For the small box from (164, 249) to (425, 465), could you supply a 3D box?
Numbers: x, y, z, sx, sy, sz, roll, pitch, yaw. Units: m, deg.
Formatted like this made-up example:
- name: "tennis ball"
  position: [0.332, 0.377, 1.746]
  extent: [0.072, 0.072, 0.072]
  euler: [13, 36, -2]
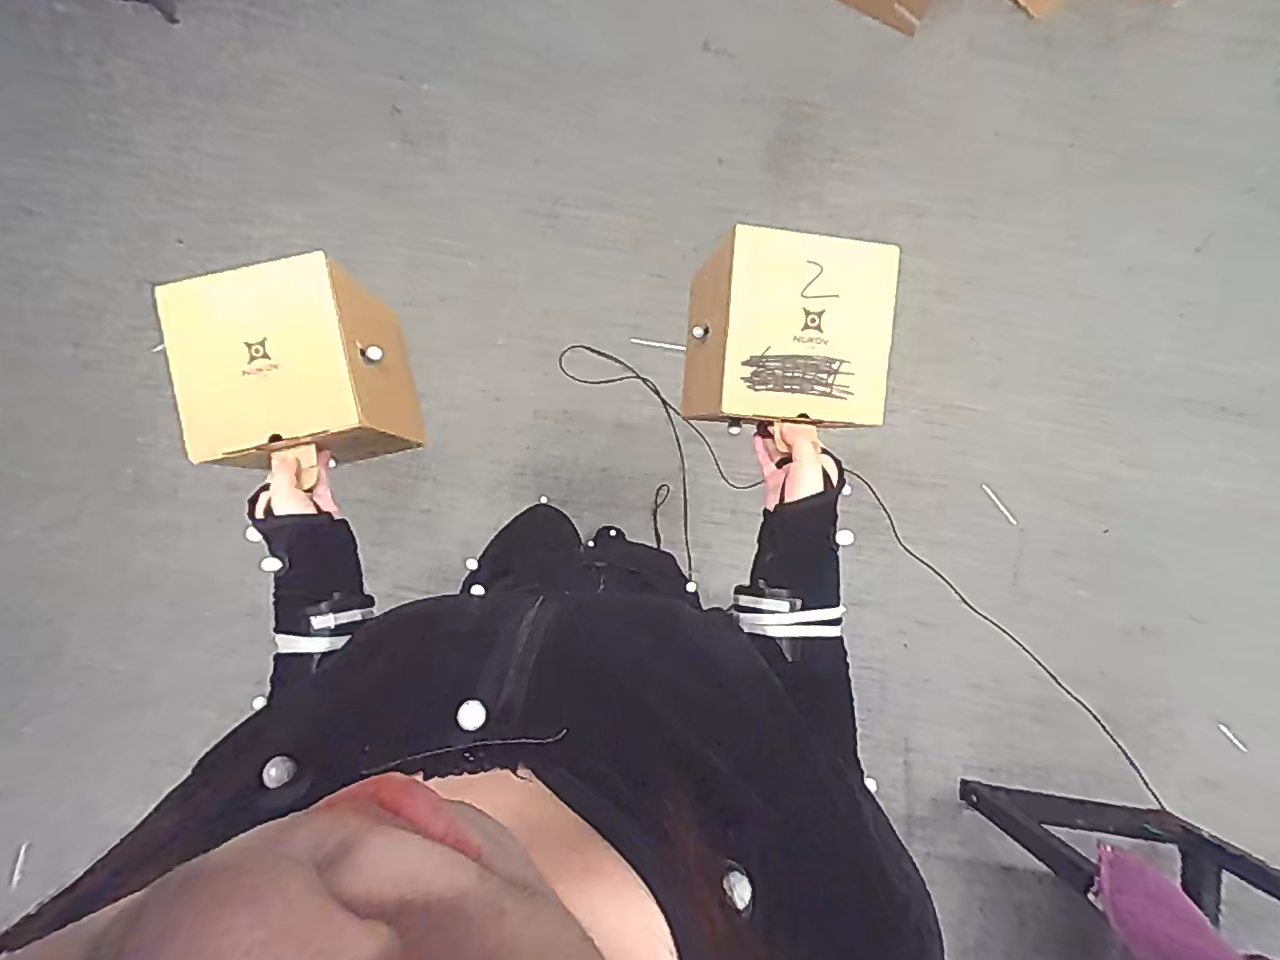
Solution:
- name: "small box"
  position: [-0.357, -0.120, 0.593]
  extent: [0.168, 0.176, 0.179]
  euler: [-12, 89, -2]
